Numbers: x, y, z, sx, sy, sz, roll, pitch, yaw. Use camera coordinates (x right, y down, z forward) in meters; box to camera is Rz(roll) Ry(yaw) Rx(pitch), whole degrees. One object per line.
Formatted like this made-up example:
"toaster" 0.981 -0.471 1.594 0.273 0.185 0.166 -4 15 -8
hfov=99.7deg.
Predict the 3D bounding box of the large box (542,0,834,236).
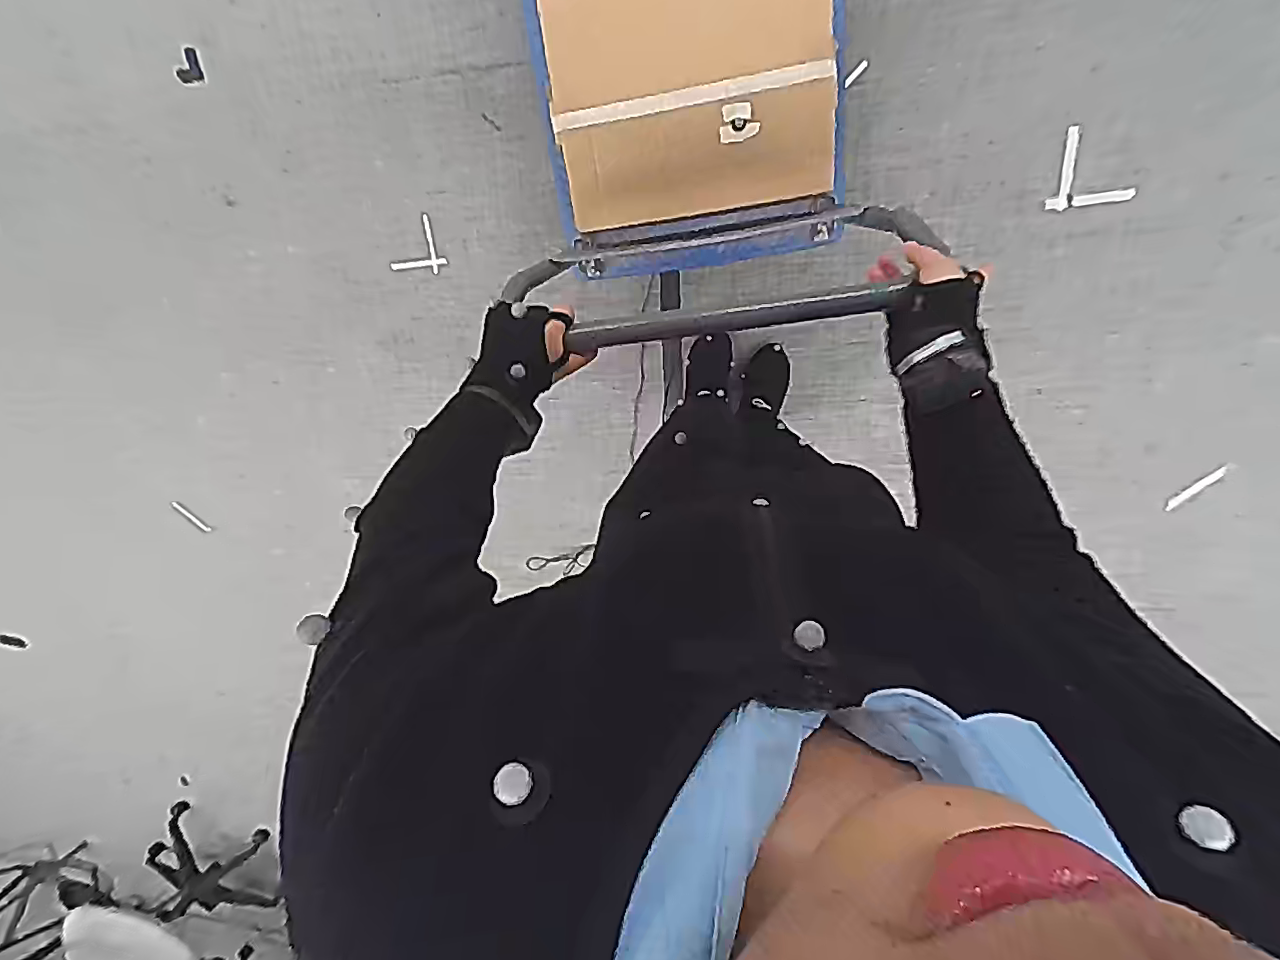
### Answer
"large box" 0.090 -0.621 0.930 0.408 0.320 0.320 -6 115 8
